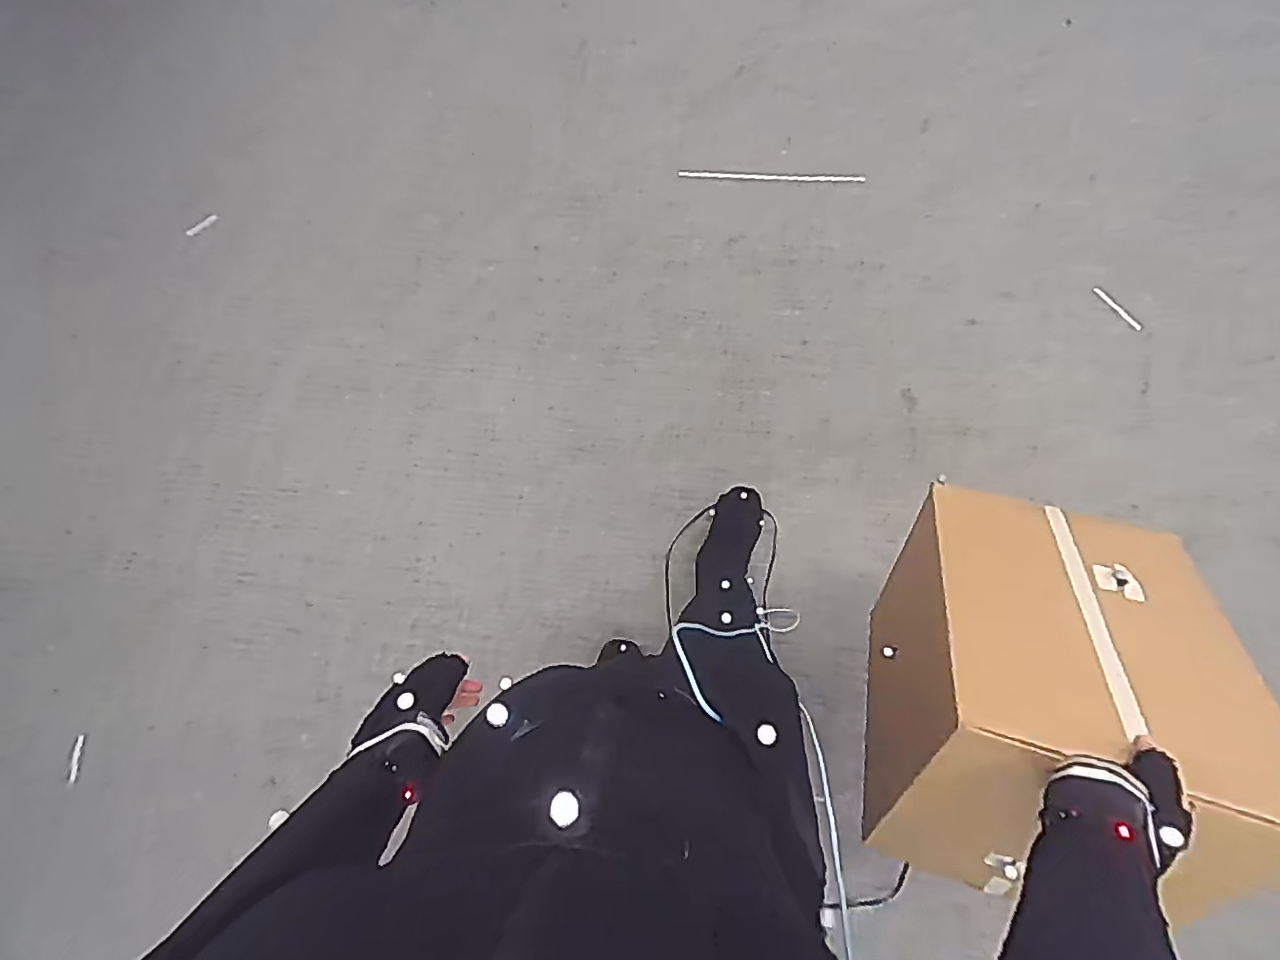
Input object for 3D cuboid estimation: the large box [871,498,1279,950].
[{"bbox_3d":[0.509,0.290,0.721,0.320,0.408,0.320,14,129,14],"label":"large box"}]
